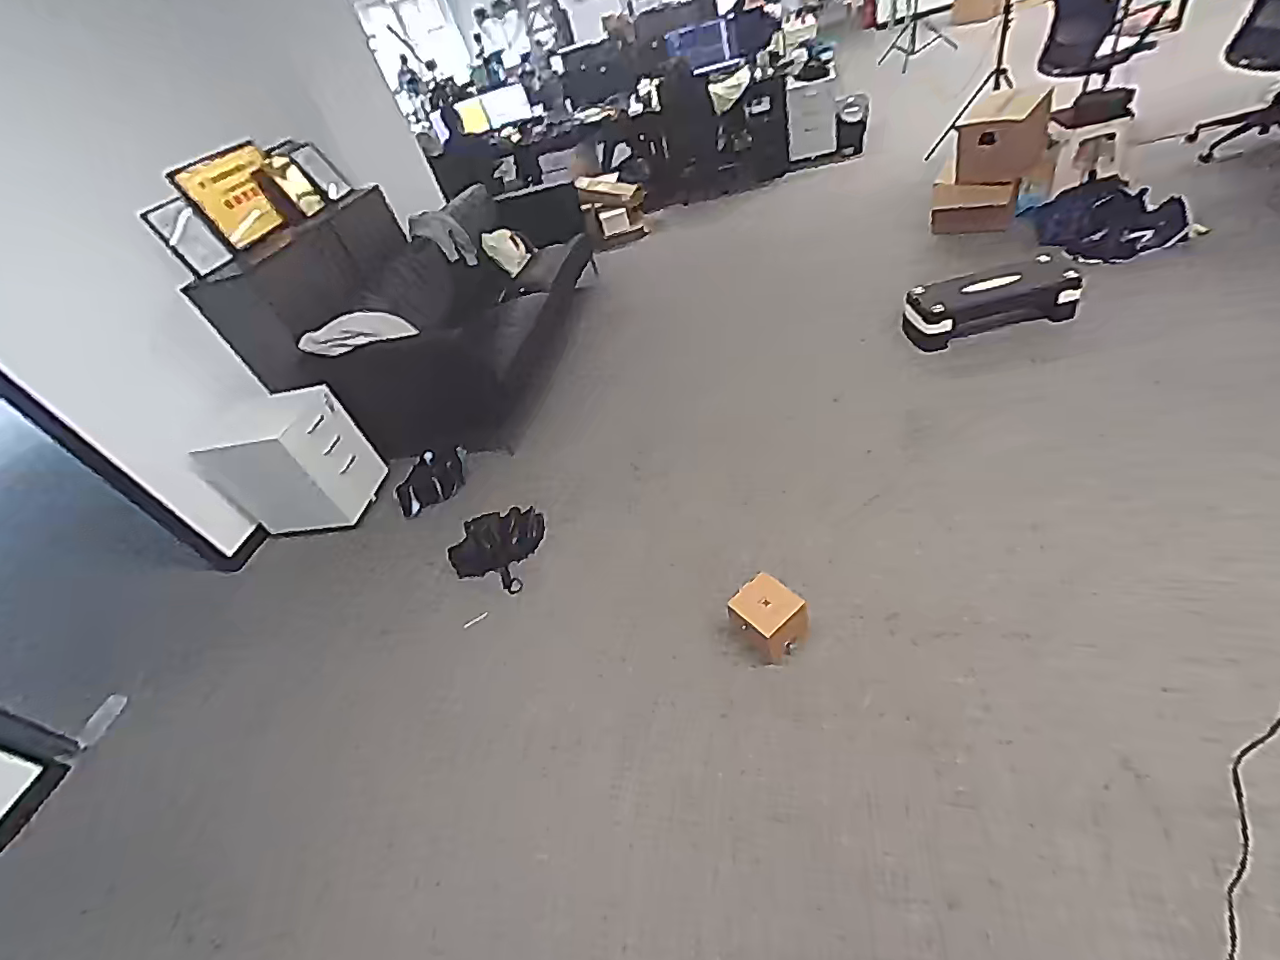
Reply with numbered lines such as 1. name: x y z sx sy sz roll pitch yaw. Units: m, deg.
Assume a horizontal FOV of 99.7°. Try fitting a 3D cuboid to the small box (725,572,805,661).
1. small box: 0.394 0.429 1.690 0.168 0.176 0.179 -37 45 -17
